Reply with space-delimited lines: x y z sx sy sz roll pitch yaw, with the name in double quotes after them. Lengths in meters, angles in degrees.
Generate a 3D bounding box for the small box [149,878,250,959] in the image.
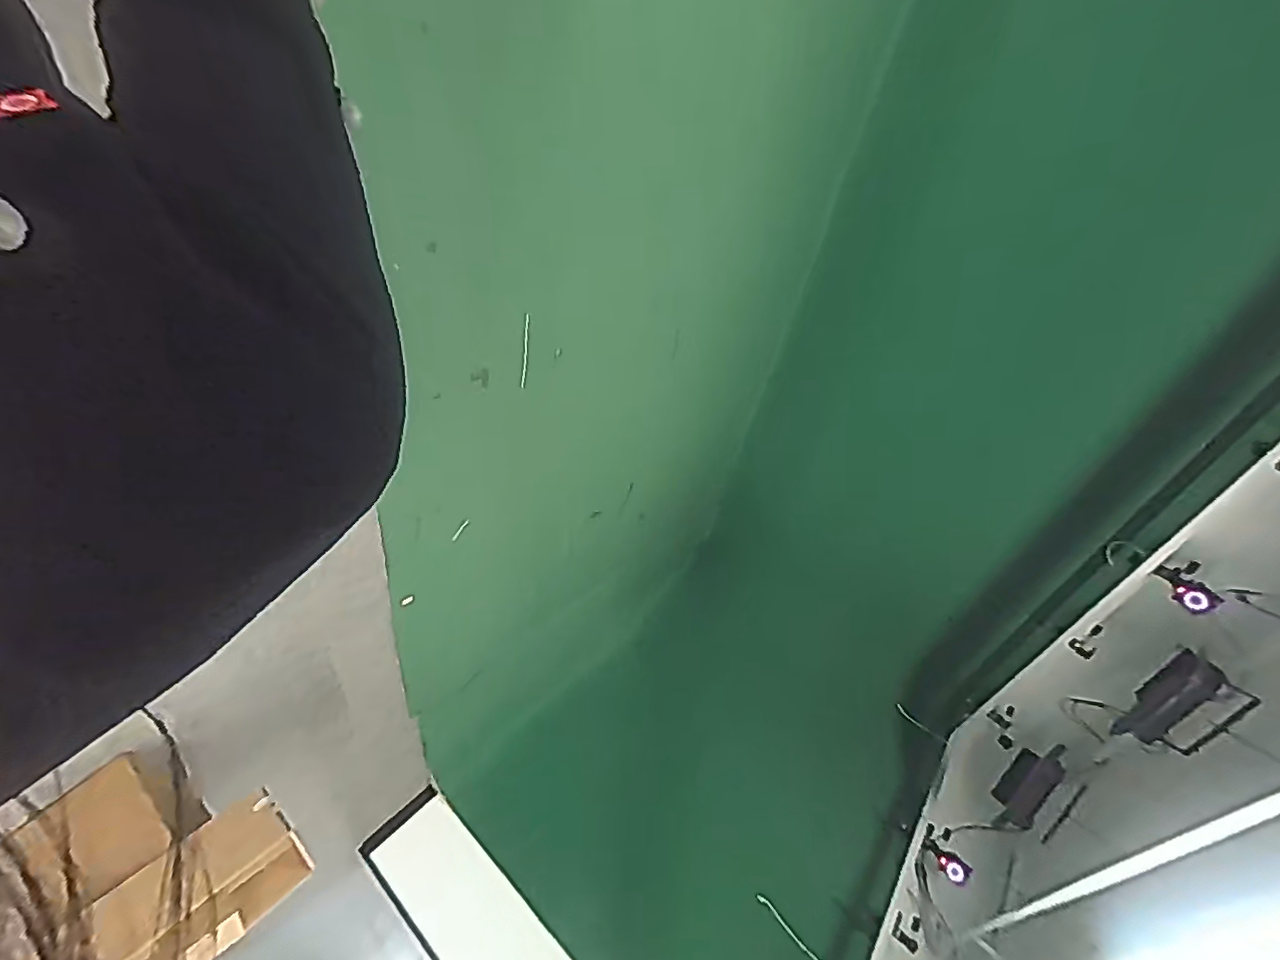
-1.244 1.285 1.531 0.168 0.176 0.179 -27 143 -48 "small box"
